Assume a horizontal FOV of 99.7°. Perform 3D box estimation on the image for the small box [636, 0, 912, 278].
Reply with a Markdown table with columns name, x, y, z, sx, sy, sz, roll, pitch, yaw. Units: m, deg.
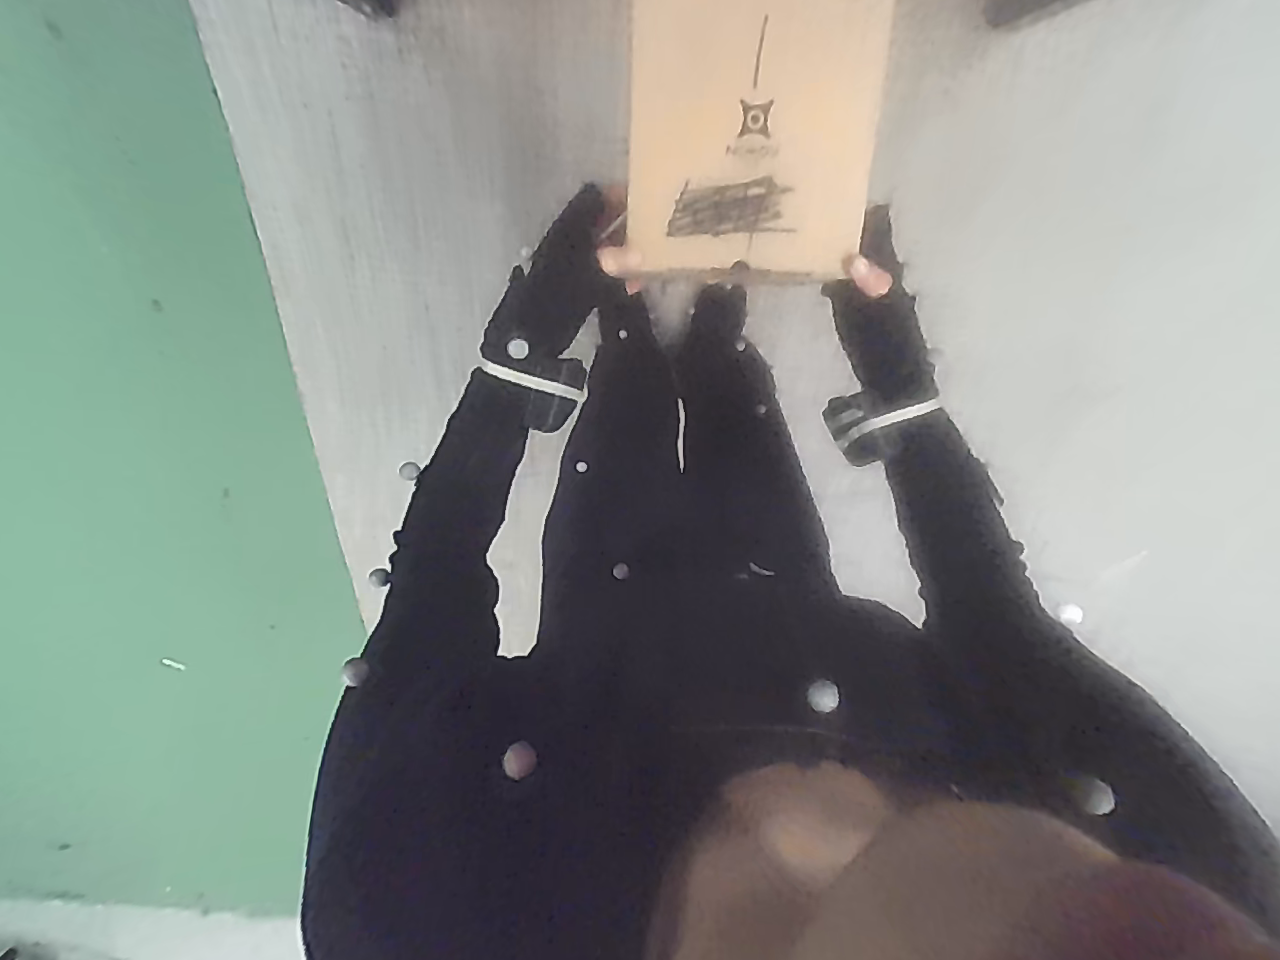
| name | x | y | z | sx | sy | sz | roll | pitch | yaw |
| --- | --- | --- | --- | --- | --- | --- | --- | --- | --- |
| small box | 0.088 | -0.261 | 0.432 | 0.168 | 0.176 | 0.179 | 3 | 106 | 2 |
